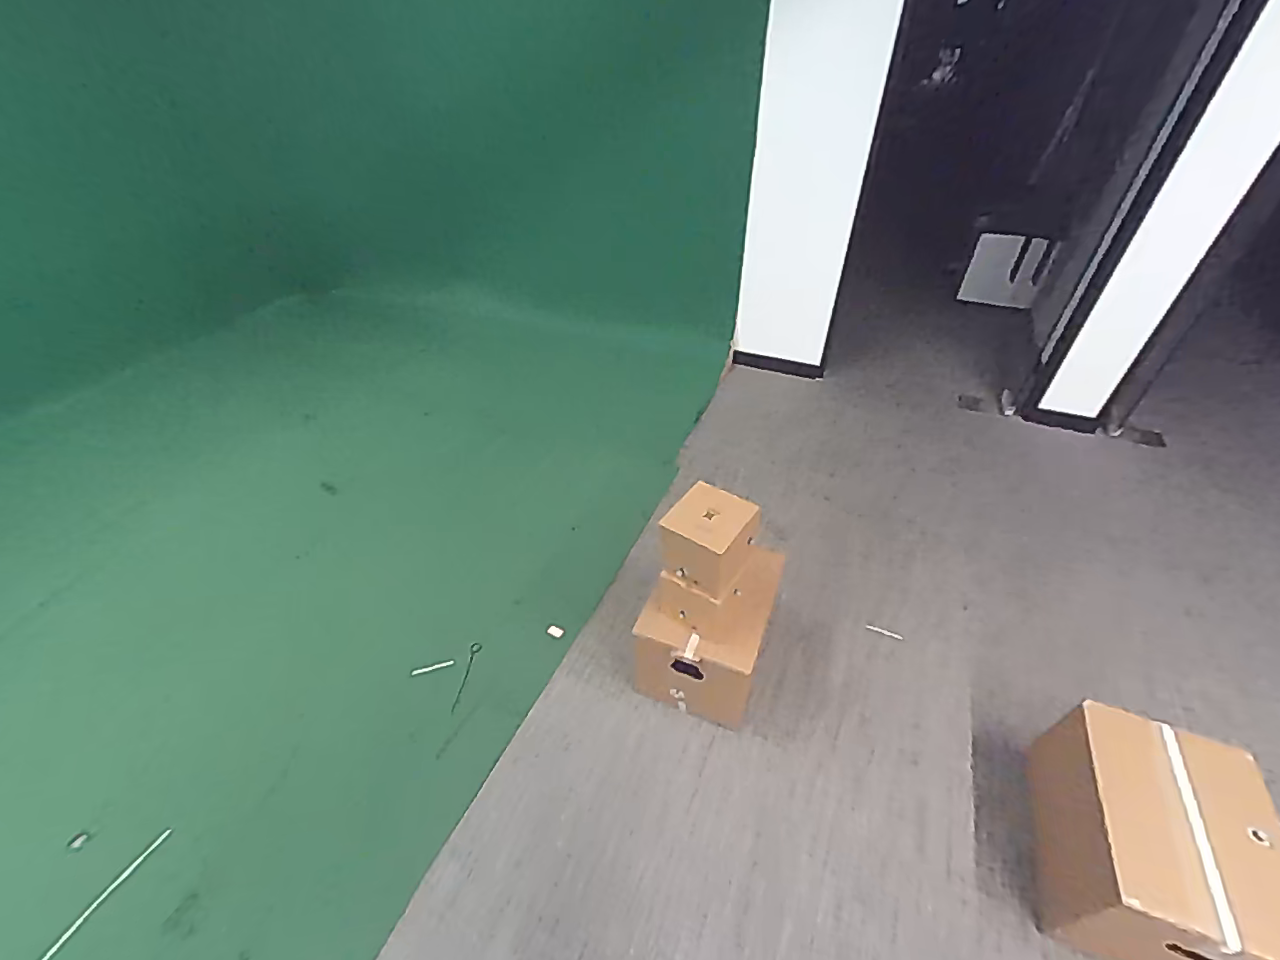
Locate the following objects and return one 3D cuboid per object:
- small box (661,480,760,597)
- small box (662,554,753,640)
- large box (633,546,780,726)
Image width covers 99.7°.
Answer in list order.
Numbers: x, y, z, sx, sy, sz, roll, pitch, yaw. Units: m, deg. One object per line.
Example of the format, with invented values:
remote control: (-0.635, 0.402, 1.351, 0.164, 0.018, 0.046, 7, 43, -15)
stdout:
small box: (0.161, 0.136, 1.266, 0.168, 0.176, 0.179, 25, 50, 28)
small box: (0.165, 0.264, 1.367, 0.168, 0.176, 0.179, 23, 48, 26)
large box: (0.196, 0.414, 1.562, 0.320, 0.320, 0.408, 15, 44, 17)
